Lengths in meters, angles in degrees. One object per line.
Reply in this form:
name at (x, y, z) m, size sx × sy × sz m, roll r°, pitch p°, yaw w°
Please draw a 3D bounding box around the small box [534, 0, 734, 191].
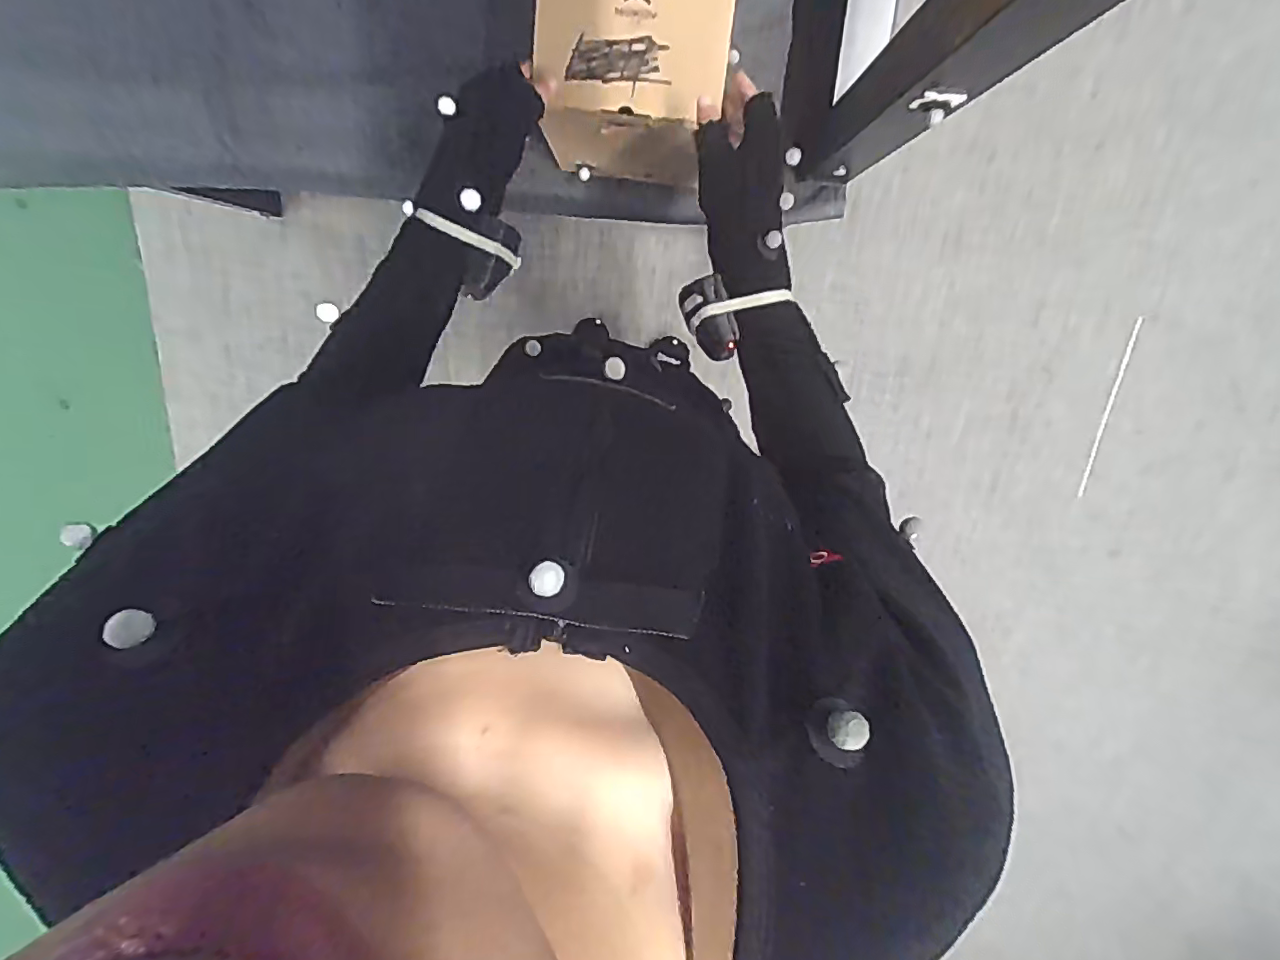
small box at (-0.001, -0.413, 0.541) m, size 0.168 × 0.176 × 0.179 m, roll 7°, pitch 101°, yaw 0°
